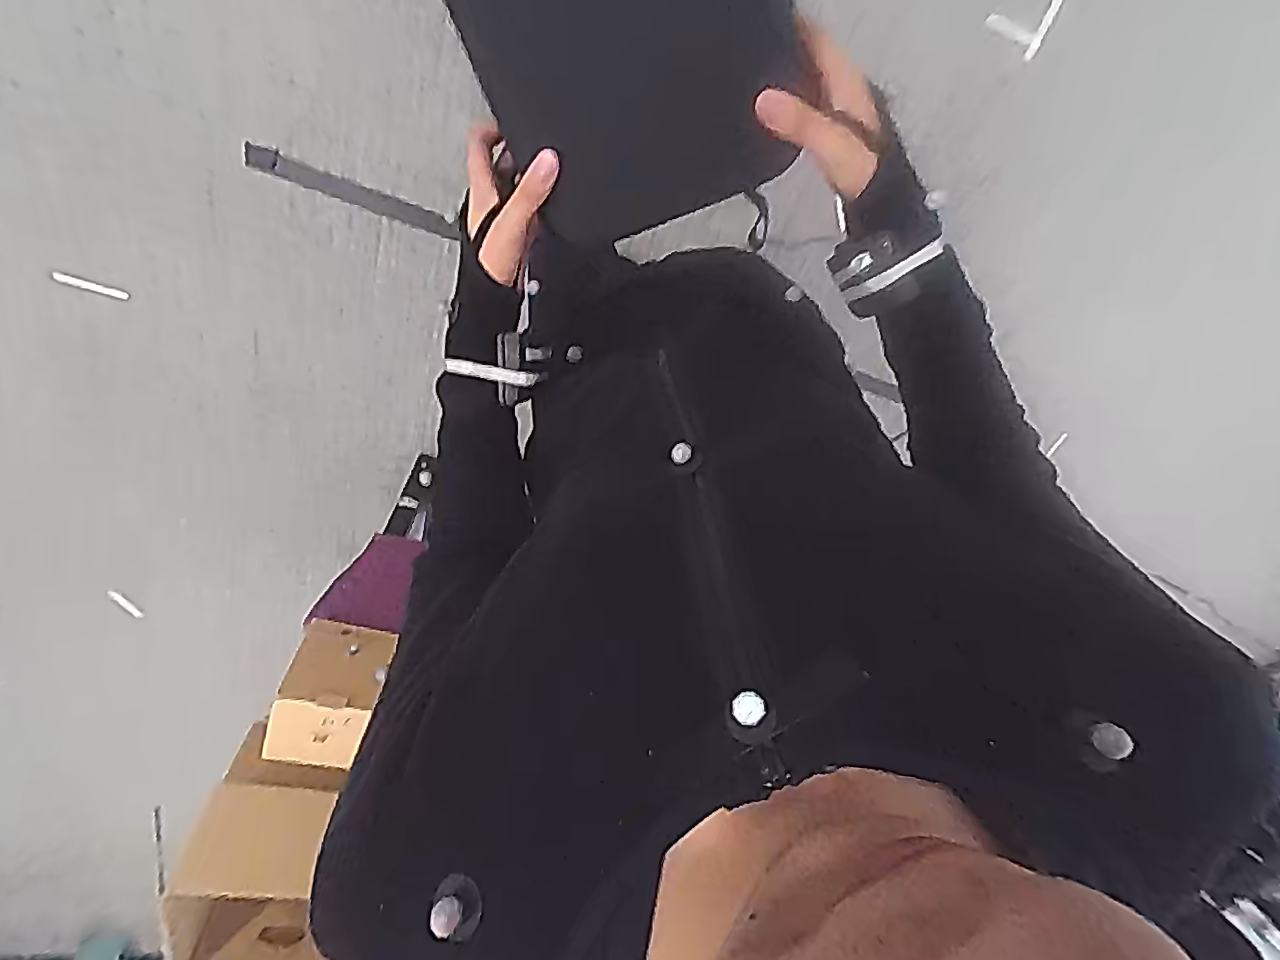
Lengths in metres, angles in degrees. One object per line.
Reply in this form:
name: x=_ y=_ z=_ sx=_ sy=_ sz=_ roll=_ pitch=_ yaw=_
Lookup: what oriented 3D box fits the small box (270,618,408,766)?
small box: x=-0.539 y=0.385 z=0.985 sx=0.168 sy=0.176 sz=0.179 roll=18 pitch=119 yaw=-20
